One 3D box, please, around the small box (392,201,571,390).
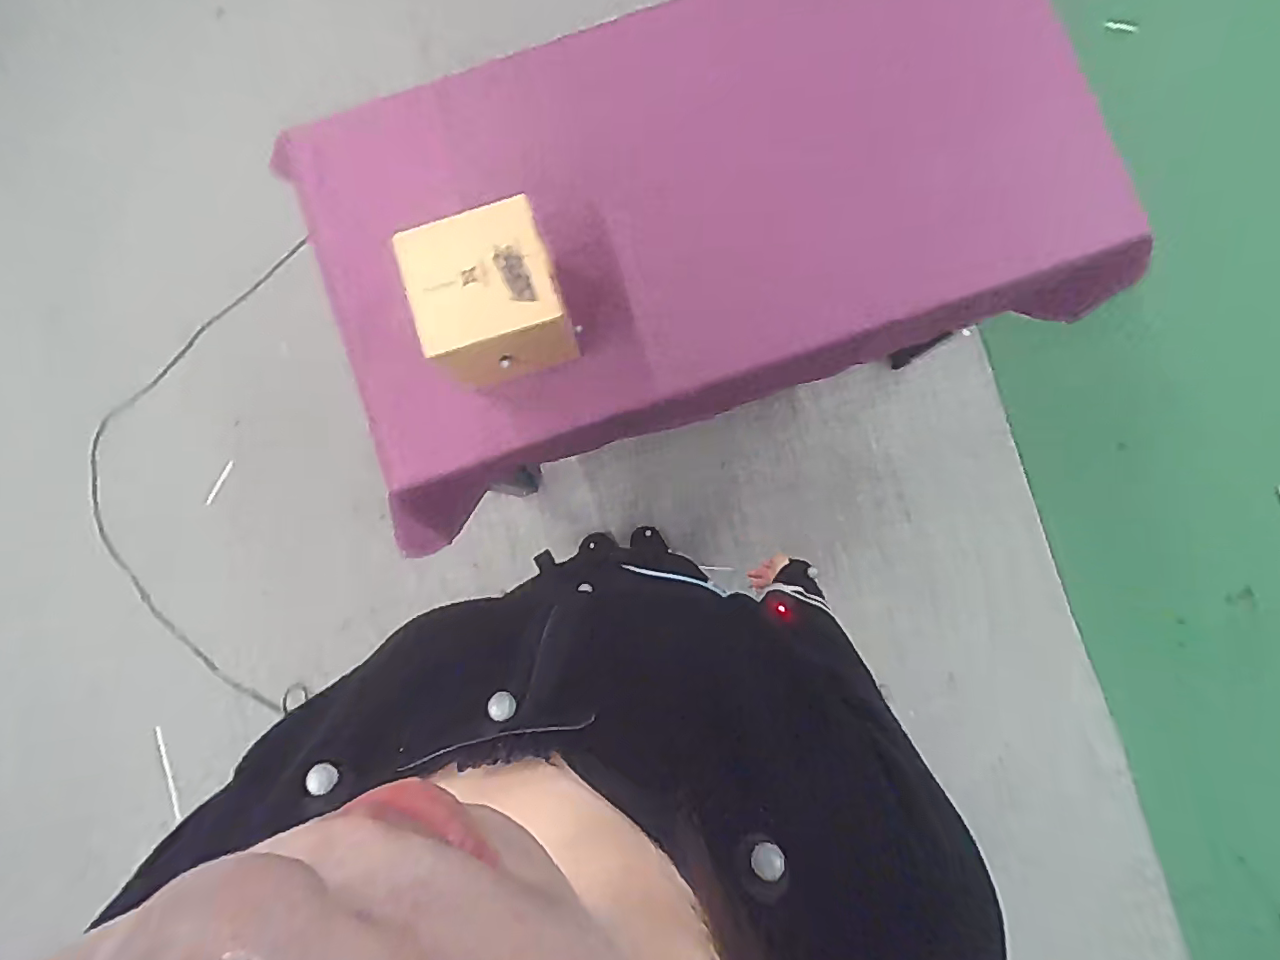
[{"bbox_3d":[-0.201,-0.239,0.743,0.179,0.176,0.168,-17,85,0],"label":"small box"}]
